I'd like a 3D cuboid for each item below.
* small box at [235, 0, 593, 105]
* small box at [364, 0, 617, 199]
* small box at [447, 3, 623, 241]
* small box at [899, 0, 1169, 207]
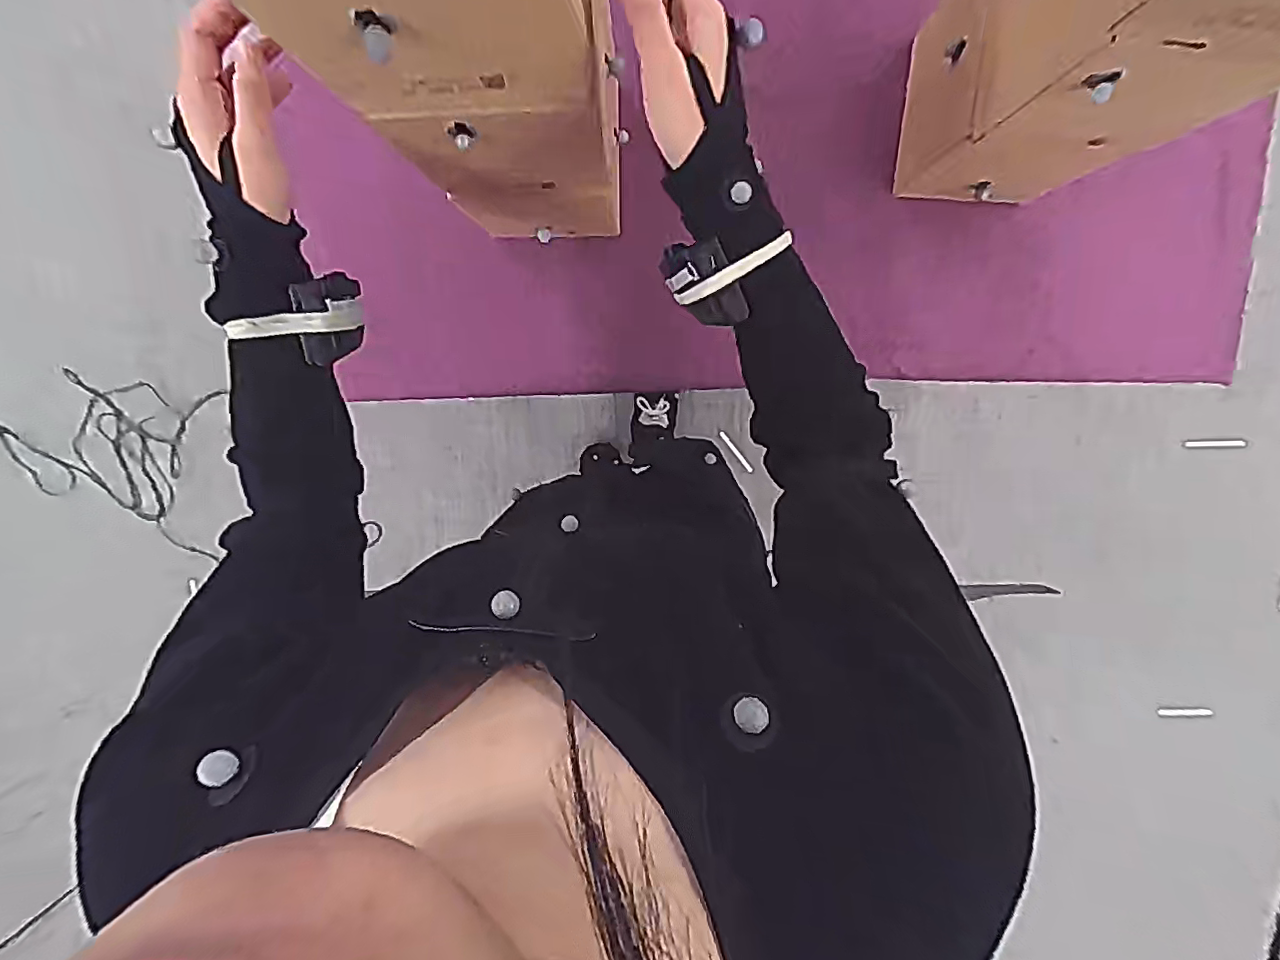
[{"bbox_3d":[-0.116,-0.317,0.271,0.168,0.176,0.179,-2,101,2],"label":"small box"},{"bbox_3d":[-0.107,-0.347,0.433,0.168,0.176,0.179,-2,102,2],"label":"small box"},{"bbox_3d":[-0.106,-0.376,0.593,0.168,0.176,0.179,0,102,1],"label":"small box"},{"bbox_3d":[0.399,-0.413,0.573,0.168,0.176,0.179,4,101,1],"label":"small box"}]
